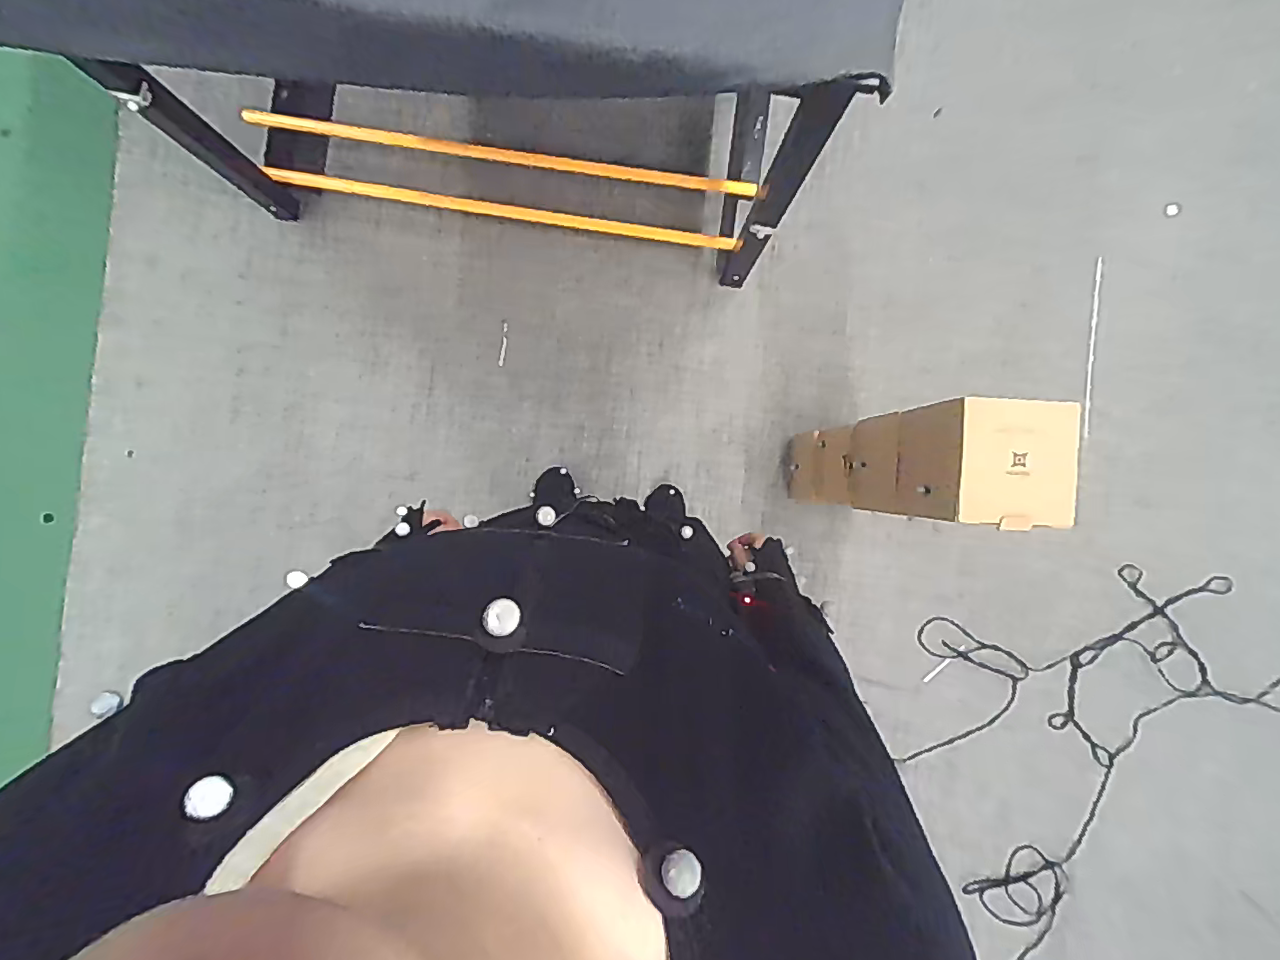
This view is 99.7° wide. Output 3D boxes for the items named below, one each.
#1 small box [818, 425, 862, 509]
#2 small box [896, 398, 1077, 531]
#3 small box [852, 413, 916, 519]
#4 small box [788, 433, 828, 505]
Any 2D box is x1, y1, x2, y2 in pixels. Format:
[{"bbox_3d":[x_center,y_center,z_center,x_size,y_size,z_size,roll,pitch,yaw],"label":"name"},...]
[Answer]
[{"bbox_3d":[0.489,-0.022,1.141,0.179,0.176,0.168,2,90,-3],"label":"small box"},{"bbox_3d":[0.507,-0.021,0.815,0.168,0.176,0.179,3,89,-3],"label":"small box"},{"bbox_3d":[0.499,-0.023,0.978,0.168,0.176,0.179,2,90,-2],"label":"small box"},{"bbox_3d":[0.471,-0.023,1.305,0.179,0.176,0.168,1,89,-1],"label":"small box"}]
